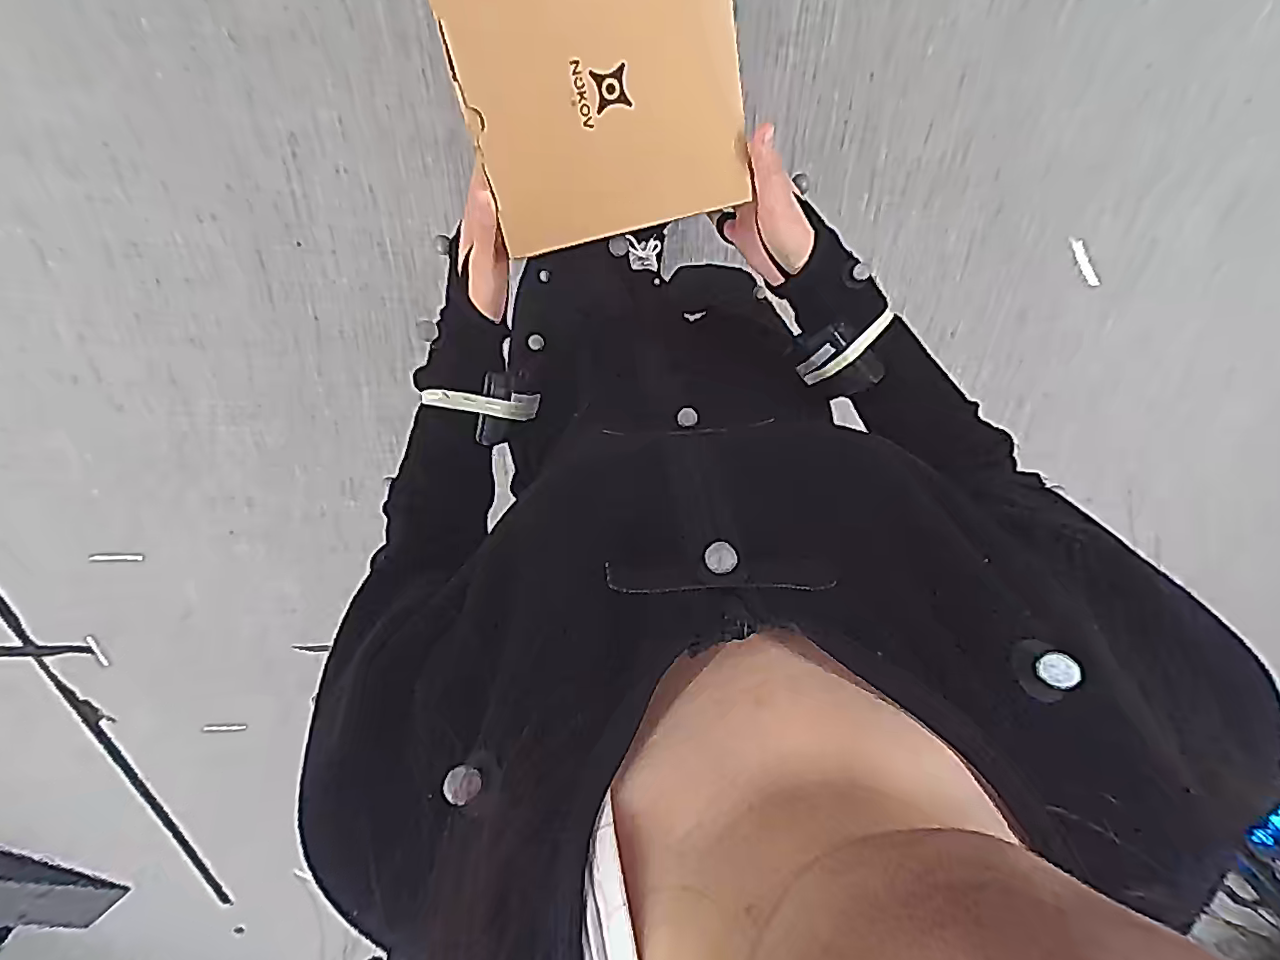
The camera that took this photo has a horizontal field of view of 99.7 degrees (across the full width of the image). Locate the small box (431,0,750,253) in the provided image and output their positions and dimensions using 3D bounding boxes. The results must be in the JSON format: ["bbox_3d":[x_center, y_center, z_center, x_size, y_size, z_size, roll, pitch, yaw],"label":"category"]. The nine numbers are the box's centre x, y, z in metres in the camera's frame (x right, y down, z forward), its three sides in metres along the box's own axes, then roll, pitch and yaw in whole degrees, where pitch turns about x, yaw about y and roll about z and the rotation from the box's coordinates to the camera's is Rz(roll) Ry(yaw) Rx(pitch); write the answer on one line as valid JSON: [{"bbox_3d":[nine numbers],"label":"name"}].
[{"bbox_3d":[-0.033,-0.284,0.405,0.179,0.176,0.168,-14,119,1],"label":"small box"}]
